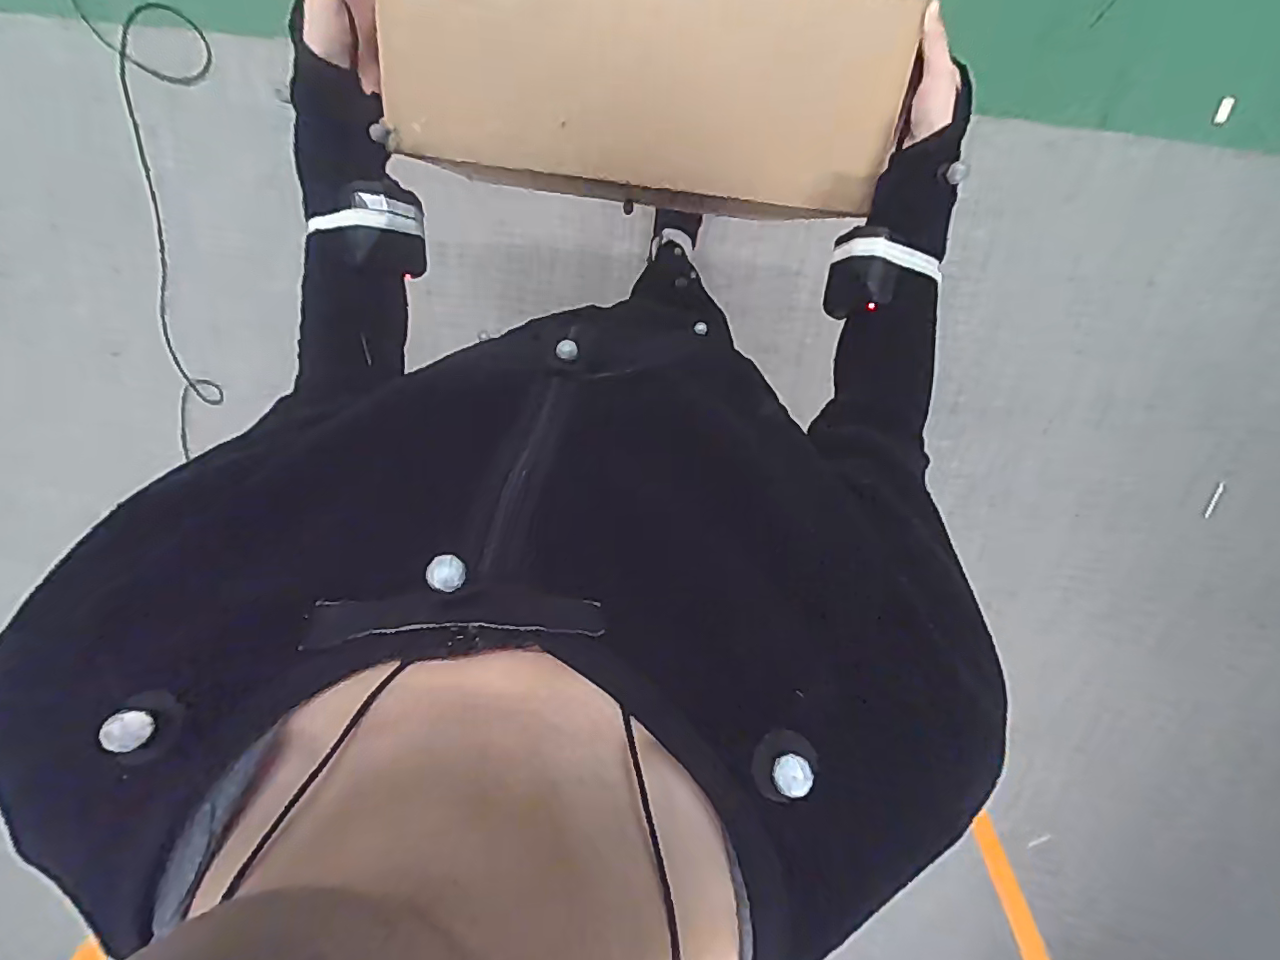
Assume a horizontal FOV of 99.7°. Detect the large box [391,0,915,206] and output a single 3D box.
[{"bbox_3d":[0.010,-0.457,0.527,0.408,0.320,0.320,4,114,-6],"label":"large box"}]
